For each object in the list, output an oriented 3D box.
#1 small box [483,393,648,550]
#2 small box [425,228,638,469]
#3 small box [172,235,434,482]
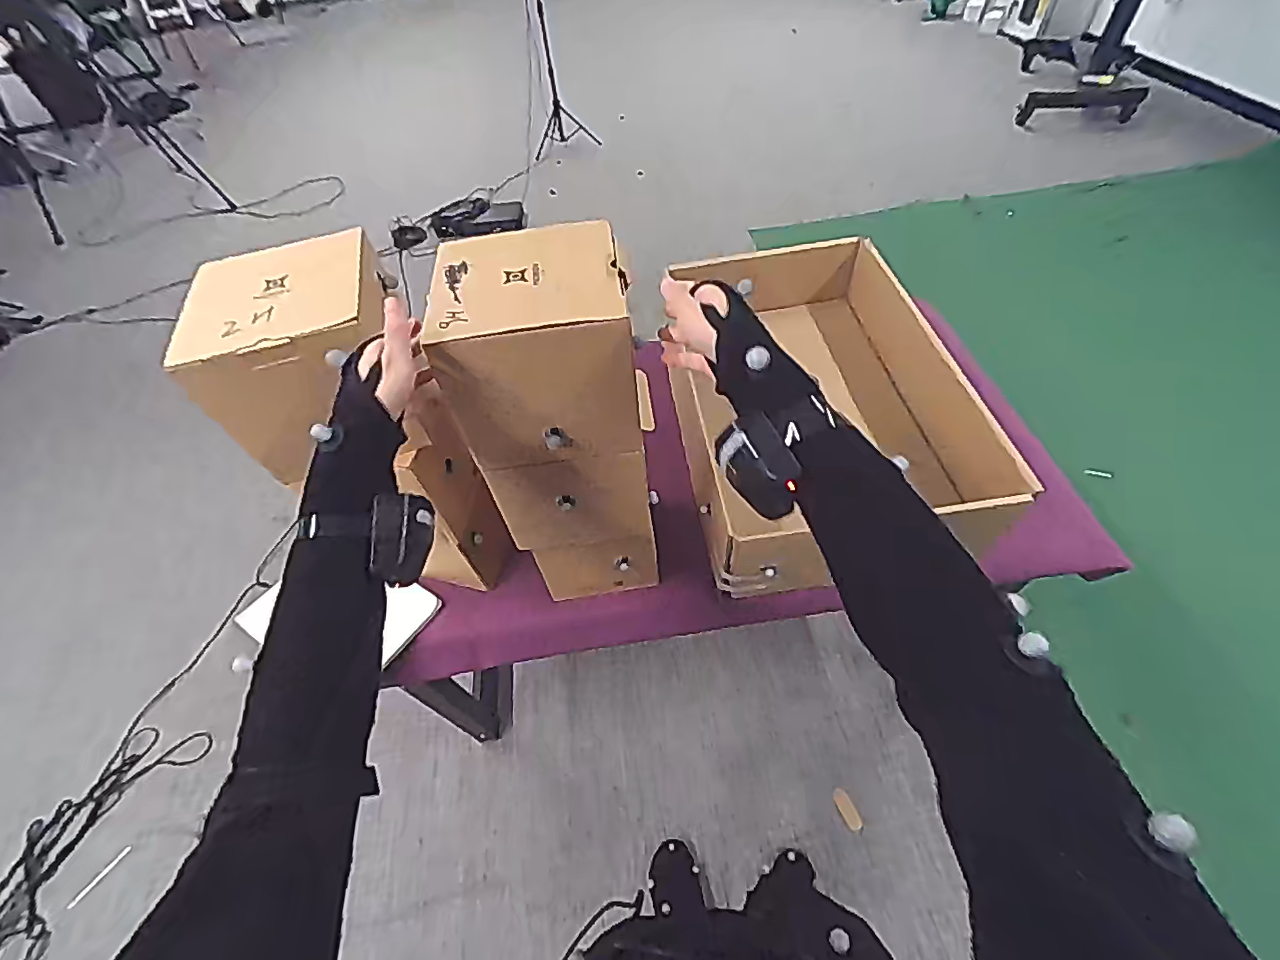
[{"bbox_3d":[-0.084,-0.029,0.686,0.179,0.176,0.168,-8,51,0],"label":"small box"},{"bbox_3d":[-0.096,-0.130,0.557,0.179,0.176,0.168,-8,51,-2],"label":"small box"},{"bbox_3d":[-0.335,-0.128,0.580,0.168,0.176,0.179,-16,53,-6],"label":"small box"}]
